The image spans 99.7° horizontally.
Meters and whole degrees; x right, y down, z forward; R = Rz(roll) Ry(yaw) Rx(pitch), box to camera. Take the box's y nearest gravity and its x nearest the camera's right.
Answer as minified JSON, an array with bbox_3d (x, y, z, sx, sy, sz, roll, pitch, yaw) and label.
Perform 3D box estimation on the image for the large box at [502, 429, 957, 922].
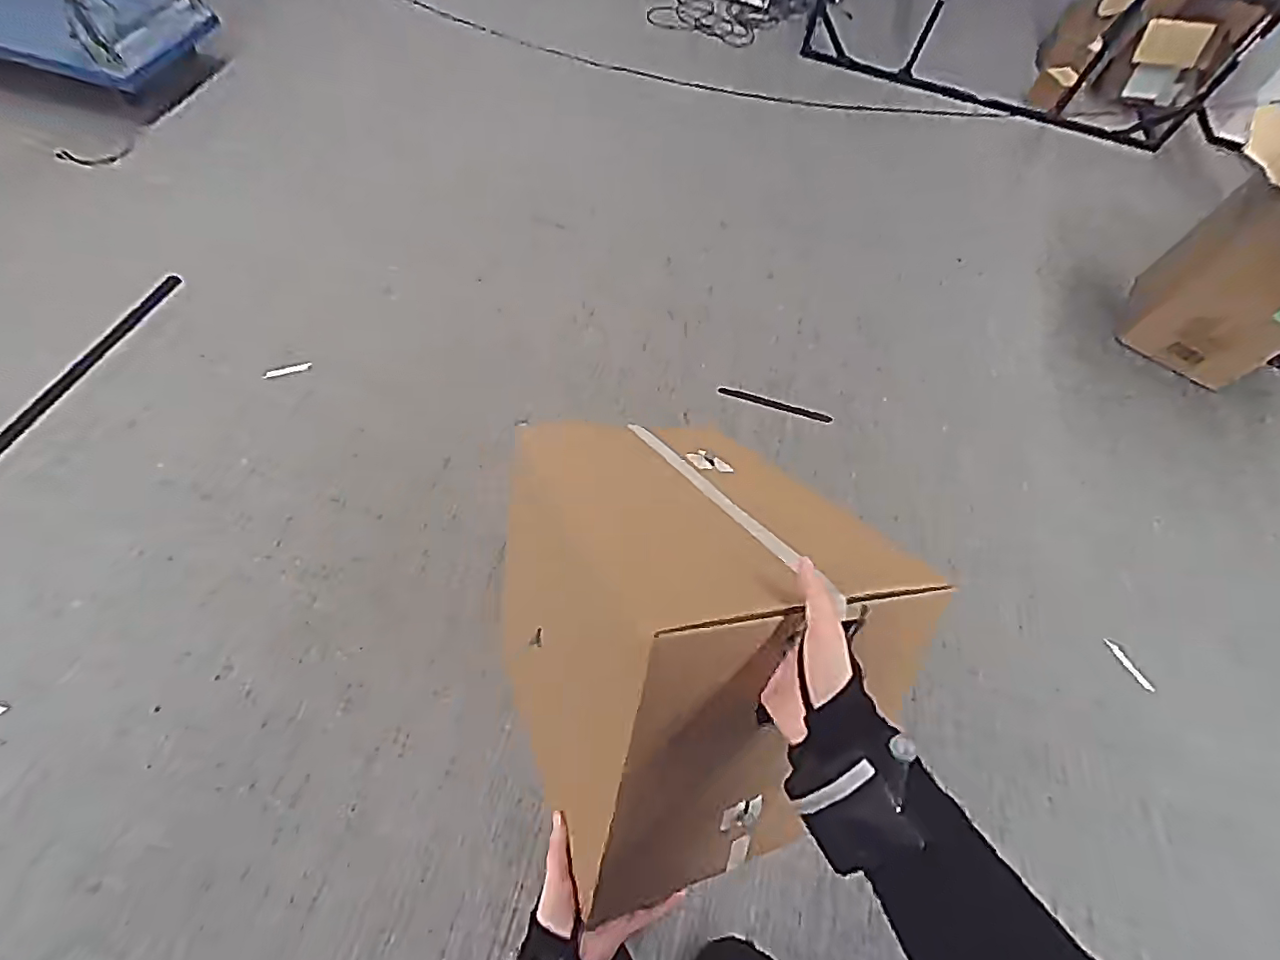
[{"bbox_3d":[0.041,0.155,0.621,0.320,0.320,0.408,0,23,-27],"label":"large box"}]
